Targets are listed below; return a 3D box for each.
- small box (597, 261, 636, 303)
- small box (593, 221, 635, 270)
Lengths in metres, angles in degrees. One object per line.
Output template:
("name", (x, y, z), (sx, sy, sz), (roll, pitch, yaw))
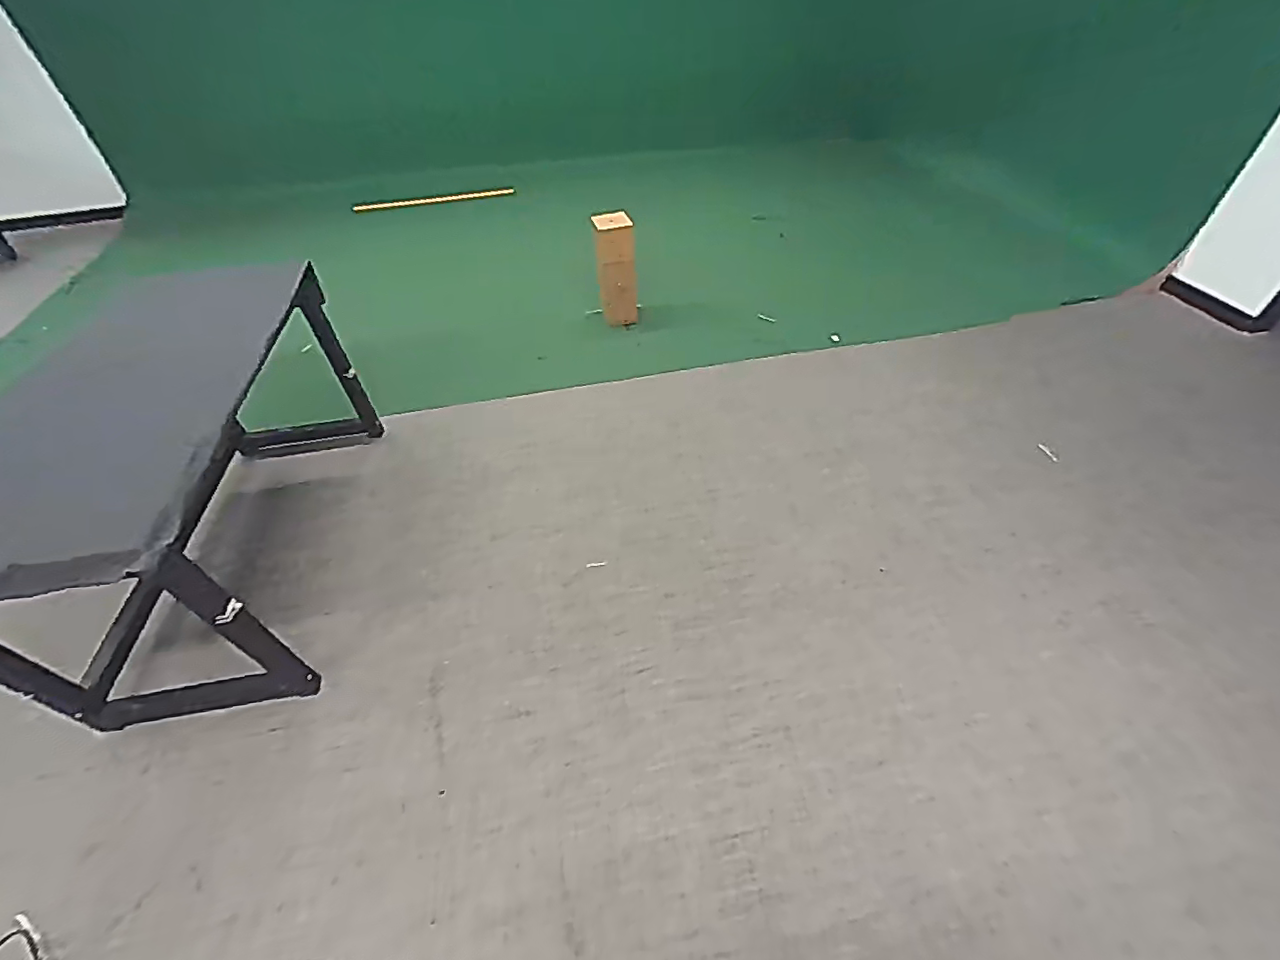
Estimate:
("small box", (-0.119, -1.024, 2.747), (0.168, 0.176, 0.179), (-12, 46, -7))
("small box", (-0.125, -1.135, 2.630), (0.168, 0.176, 0.179), (-14, 45, -10))
